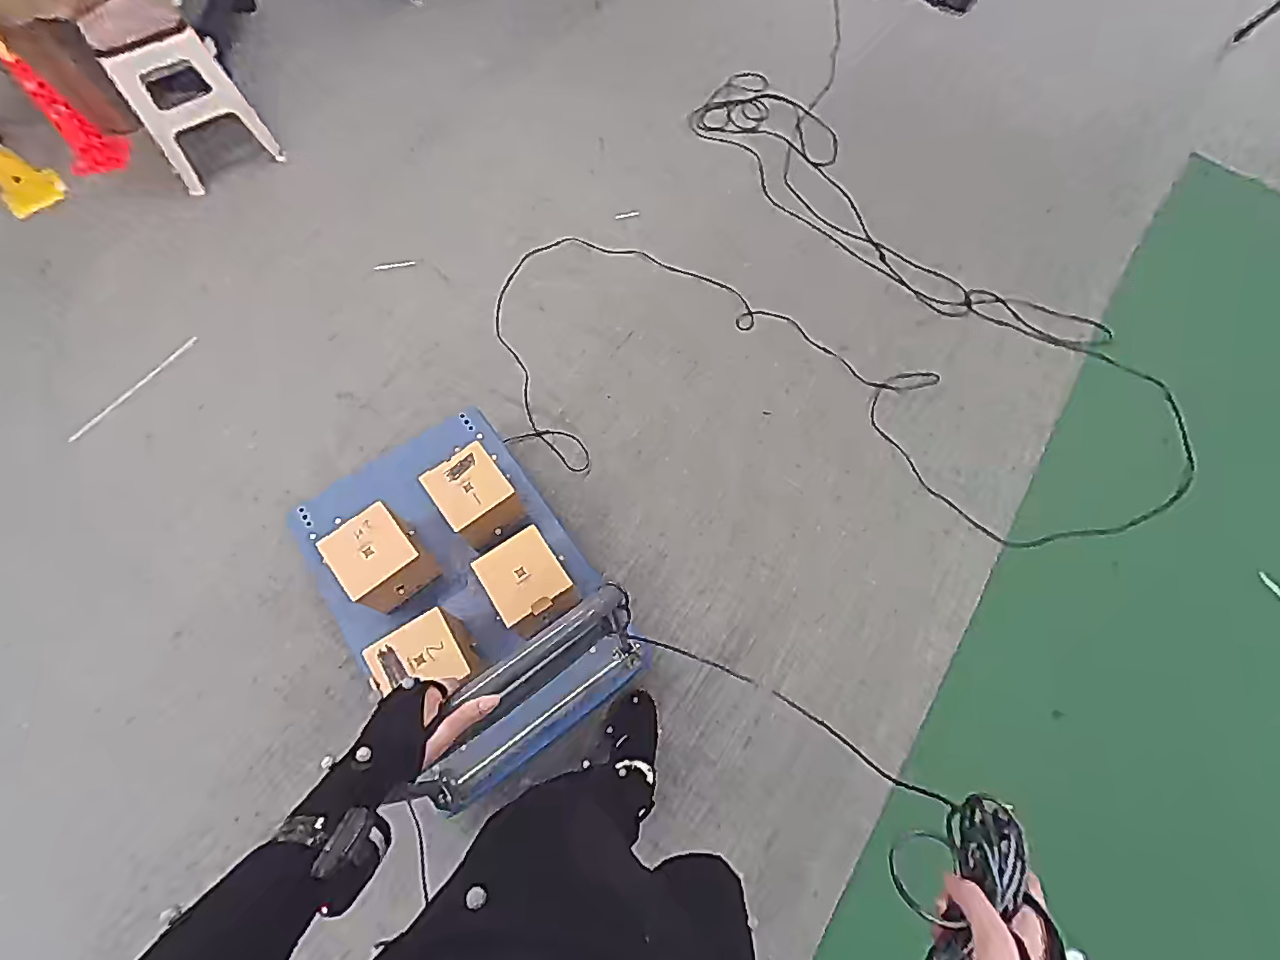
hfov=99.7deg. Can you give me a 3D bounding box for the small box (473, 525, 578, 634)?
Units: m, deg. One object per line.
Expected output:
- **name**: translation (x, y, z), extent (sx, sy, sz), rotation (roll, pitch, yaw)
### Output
- **small box**: translation (-0.260, 0.238, 1.260), extent (0.168, 0.176, 0.179), rotation (-33, 72, -13)

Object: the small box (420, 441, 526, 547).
- **small box**: translation (-0.406, 0.041, 1.340), extent (0.168, 0.176, 0.179), rotation (-36, 73, -14)

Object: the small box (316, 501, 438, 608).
- **small box**: translation (-0.609, 0.185, 1.276), extent (0.168, 0.176, 0.179), rotation (-37, 72, -16)
